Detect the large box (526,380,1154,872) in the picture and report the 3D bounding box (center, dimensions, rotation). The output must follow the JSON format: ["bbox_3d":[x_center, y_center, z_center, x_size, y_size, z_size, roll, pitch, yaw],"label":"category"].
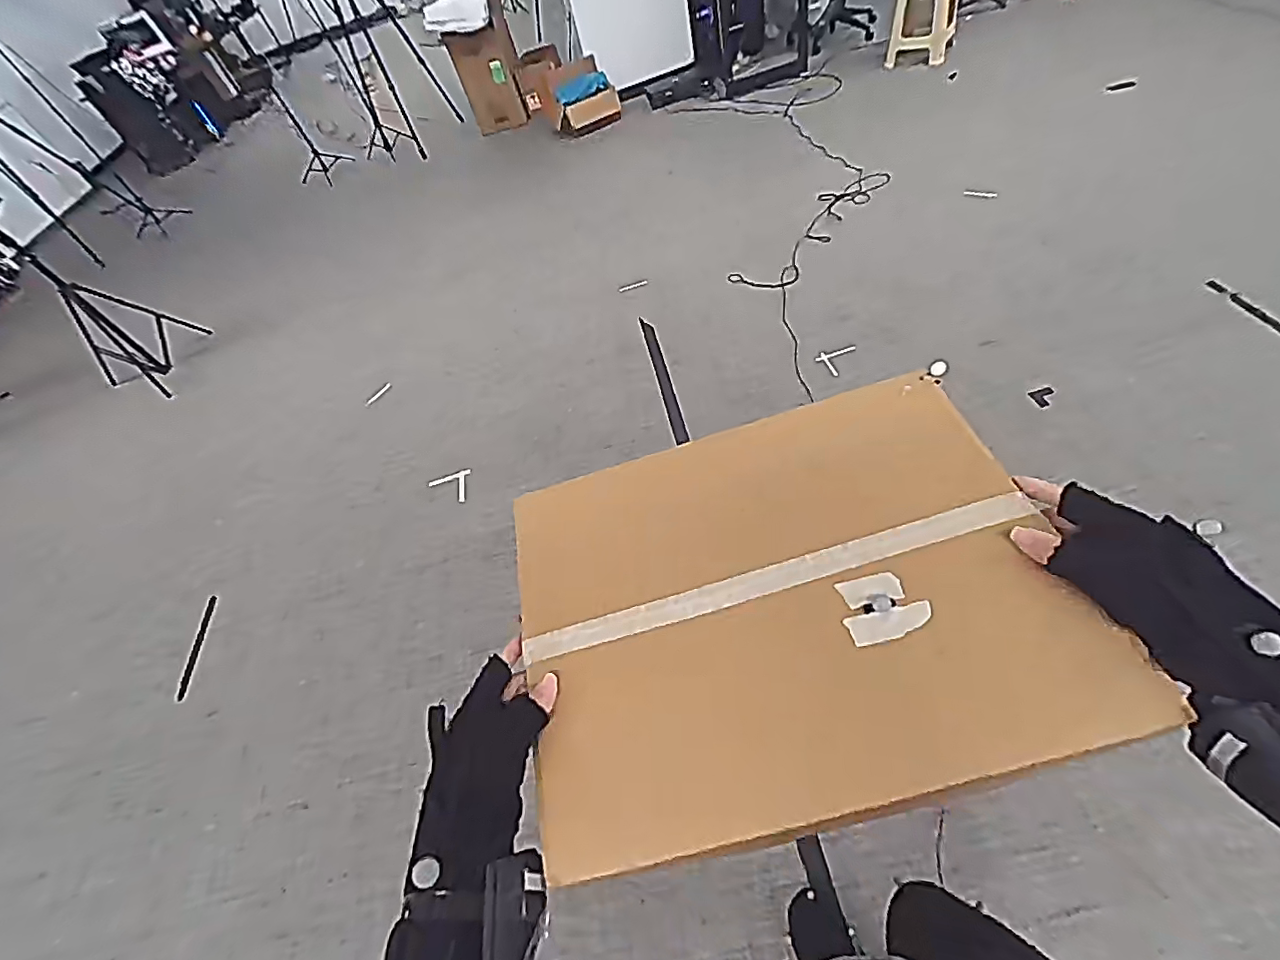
[{"bbox_3d":[0.138,0.164,0.555,0.408,0.320,0.320,-18,54,4],"label":"large box"}]
